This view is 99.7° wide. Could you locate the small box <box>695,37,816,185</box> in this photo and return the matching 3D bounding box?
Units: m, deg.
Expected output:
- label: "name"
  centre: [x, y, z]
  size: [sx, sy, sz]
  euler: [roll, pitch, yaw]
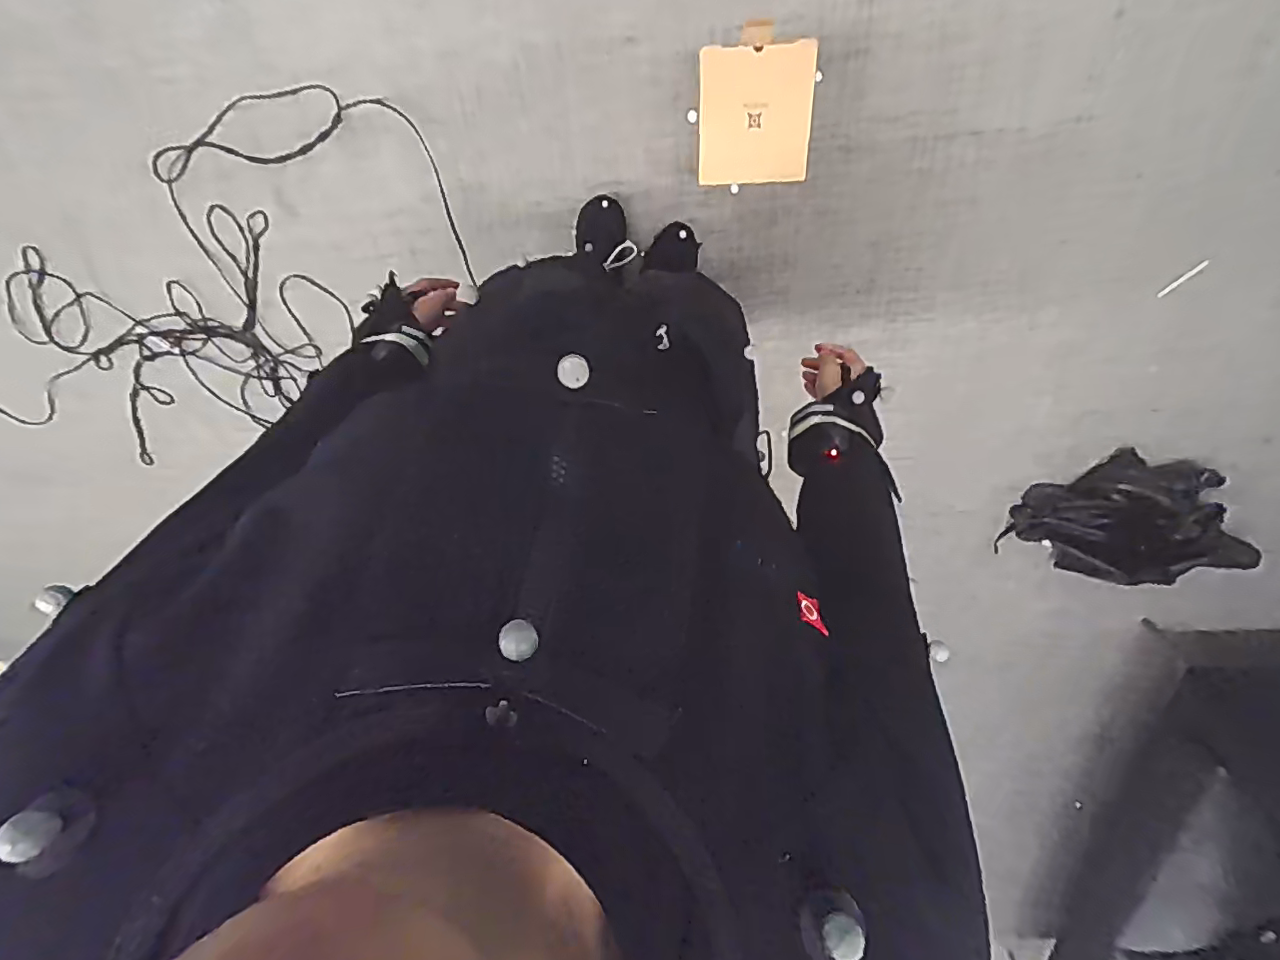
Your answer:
- label: "small box"
  centre: [0.173, -0.577, 0.865]
  size: [0.168, 0.176, 0.179]
  euler: [0, 119, 5]
